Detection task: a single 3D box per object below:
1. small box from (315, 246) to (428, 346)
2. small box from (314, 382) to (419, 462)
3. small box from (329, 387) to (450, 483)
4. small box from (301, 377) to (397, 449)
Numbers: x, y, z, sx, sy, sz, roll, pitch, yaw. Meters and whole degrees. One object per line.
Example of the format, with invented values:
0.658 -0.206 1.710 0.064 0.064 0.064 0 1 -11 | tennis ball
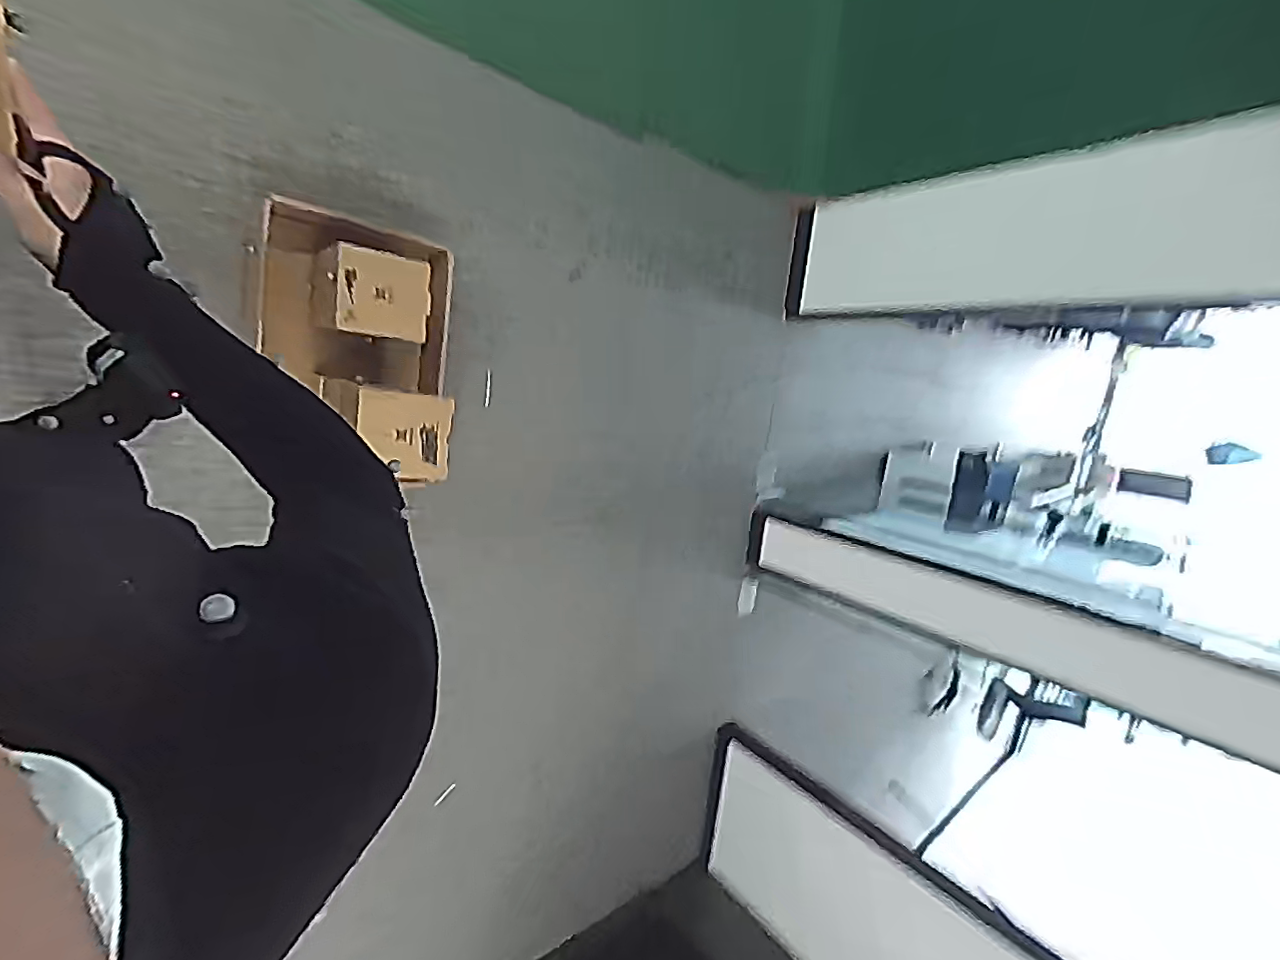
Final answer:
-0.580 -0.390 1.166 0.179 0.176 0.168 1 101 -41 | small box
-0.616 -0.126 1.215 0.179 0.176 0.168 4 99 -41 | small box
-0.509 -0.093 1.094 0.179 0.176 0.168 3 99 -40 | small box
-0.723 -0.160 1.336 0.179 0.176 0.168 3 99 -41 | small box
